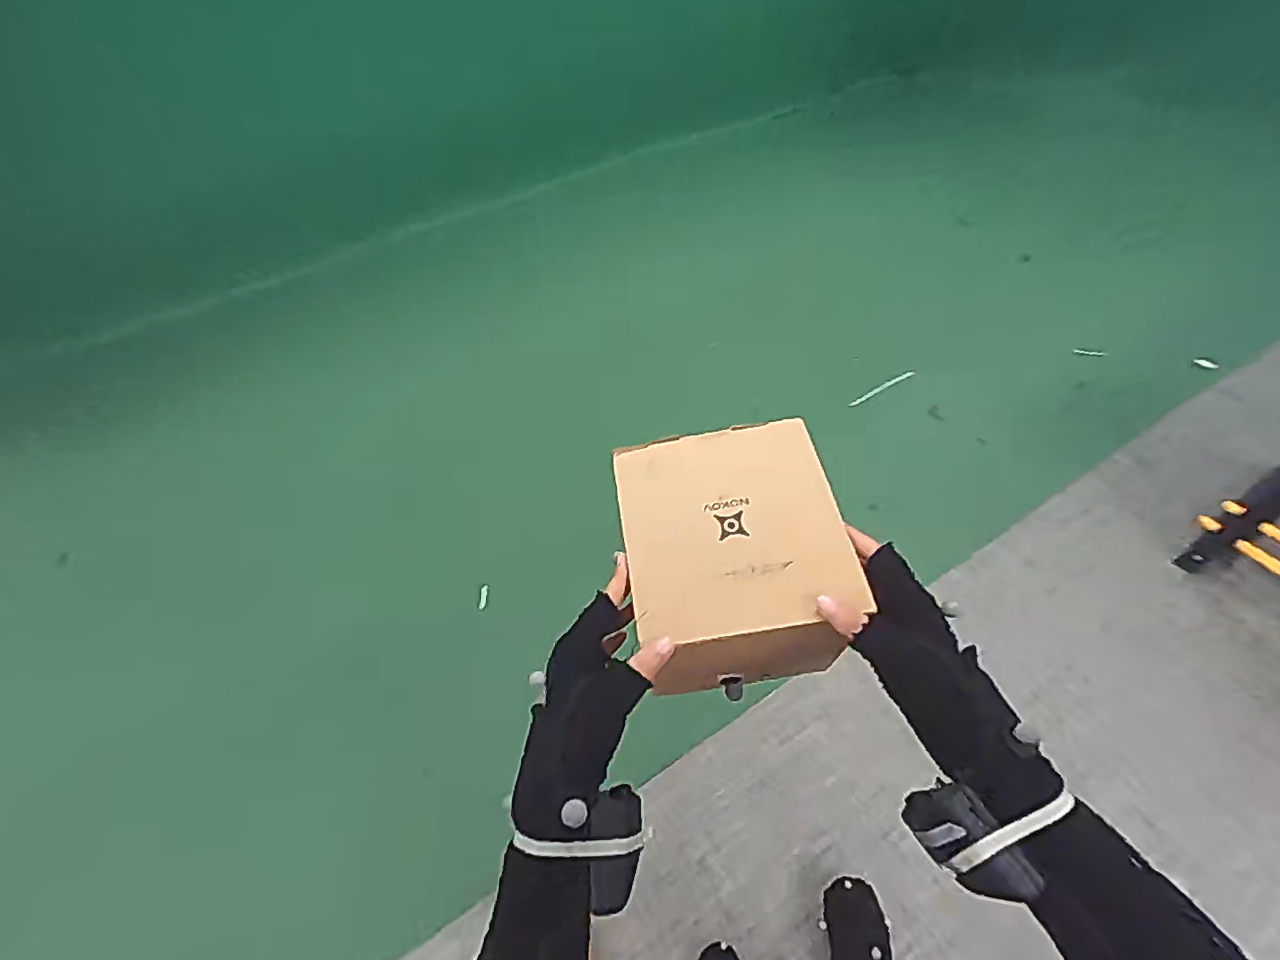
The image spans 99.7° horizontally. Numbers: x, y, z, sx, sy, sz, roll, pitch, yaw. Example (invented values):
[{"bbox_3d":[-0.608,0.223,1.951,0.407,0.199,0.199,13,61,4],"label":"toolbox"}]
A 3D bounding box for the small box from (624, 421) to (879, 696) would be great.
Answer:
[{"bbox_3d":[0.080,0.075,0.480,0.168,0.176,0.179,-8,57,0],"label":"small box"}]
